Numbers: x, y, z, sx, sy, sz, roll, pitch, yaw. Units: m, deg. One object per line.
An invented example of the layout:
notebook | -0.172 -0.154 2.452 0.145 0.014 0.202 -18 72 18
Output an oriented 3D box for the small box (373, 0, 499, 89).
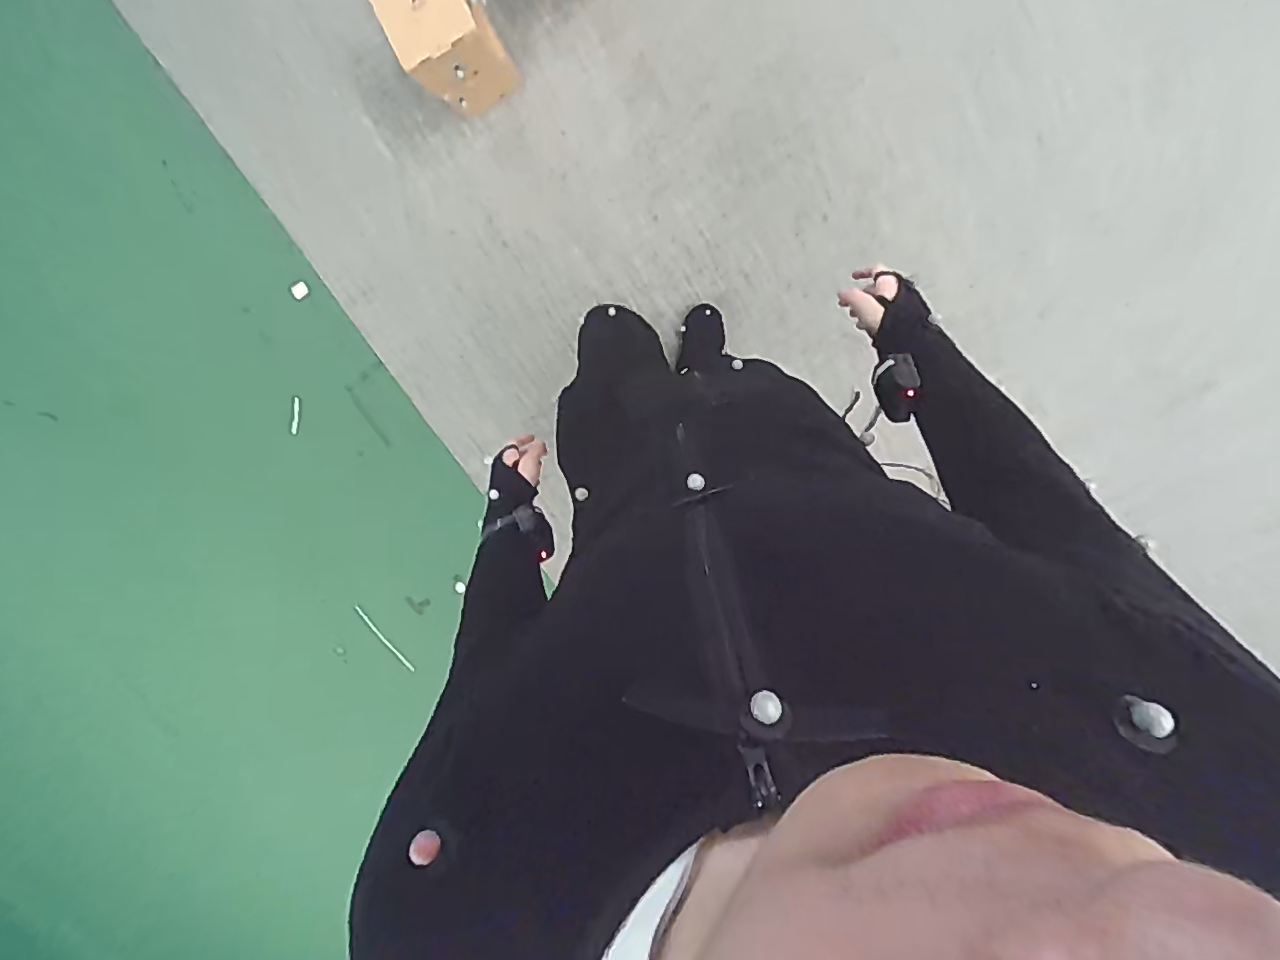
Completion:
small box | -0.408 -0.925 1.084 0.168 0.176 0.179 -22 108 9
